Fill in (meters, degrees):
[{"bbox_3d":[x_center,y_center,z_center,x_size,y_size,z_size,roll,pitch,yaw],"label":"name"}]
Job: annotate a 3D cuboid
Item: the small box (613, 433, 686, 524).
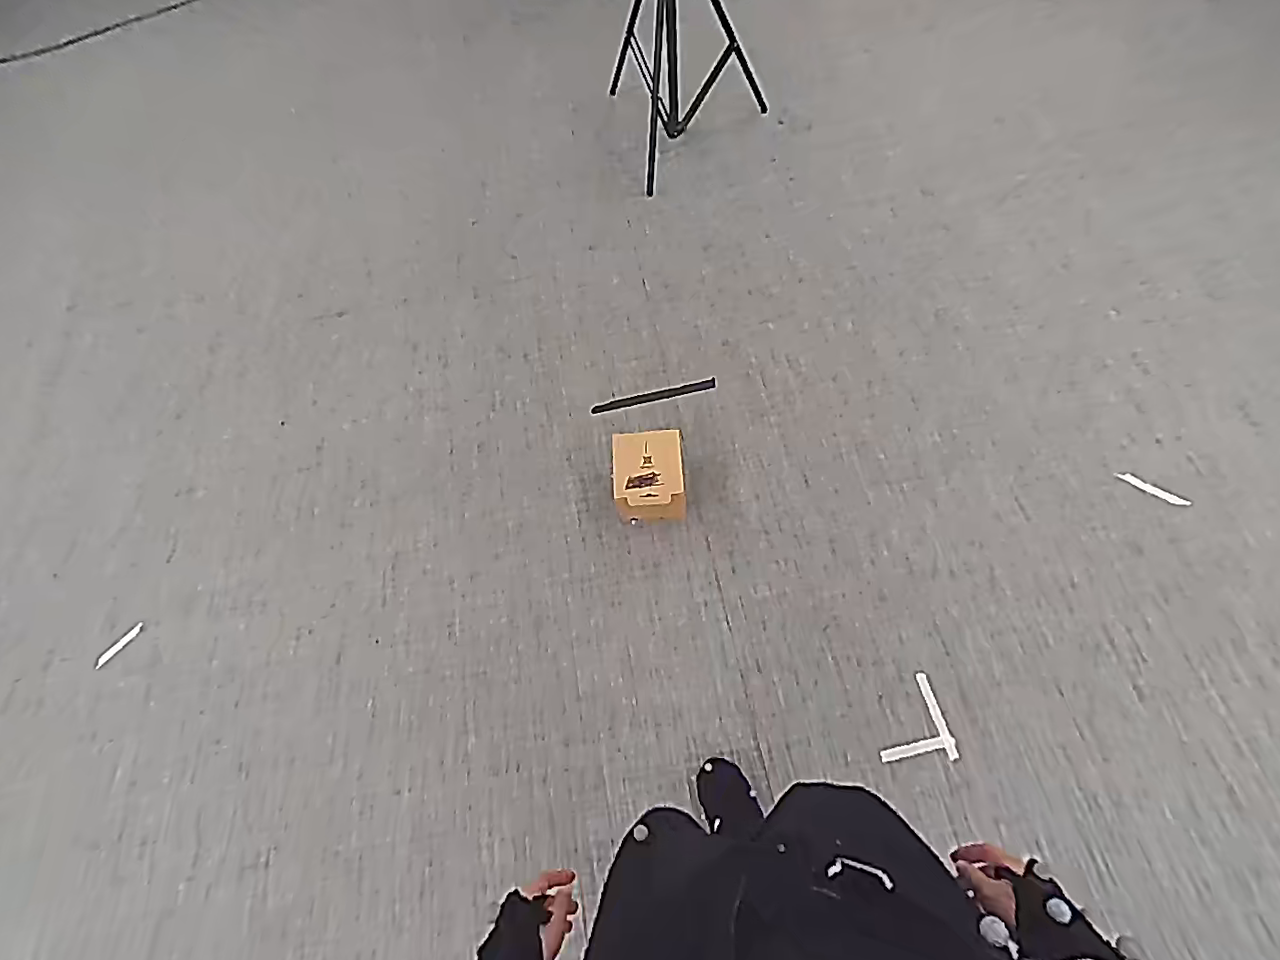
[{"bbox_3d":[0.026,0.004,1.354,0.168,0.176,0.179,-5,65,4],"label":"small box"}]
